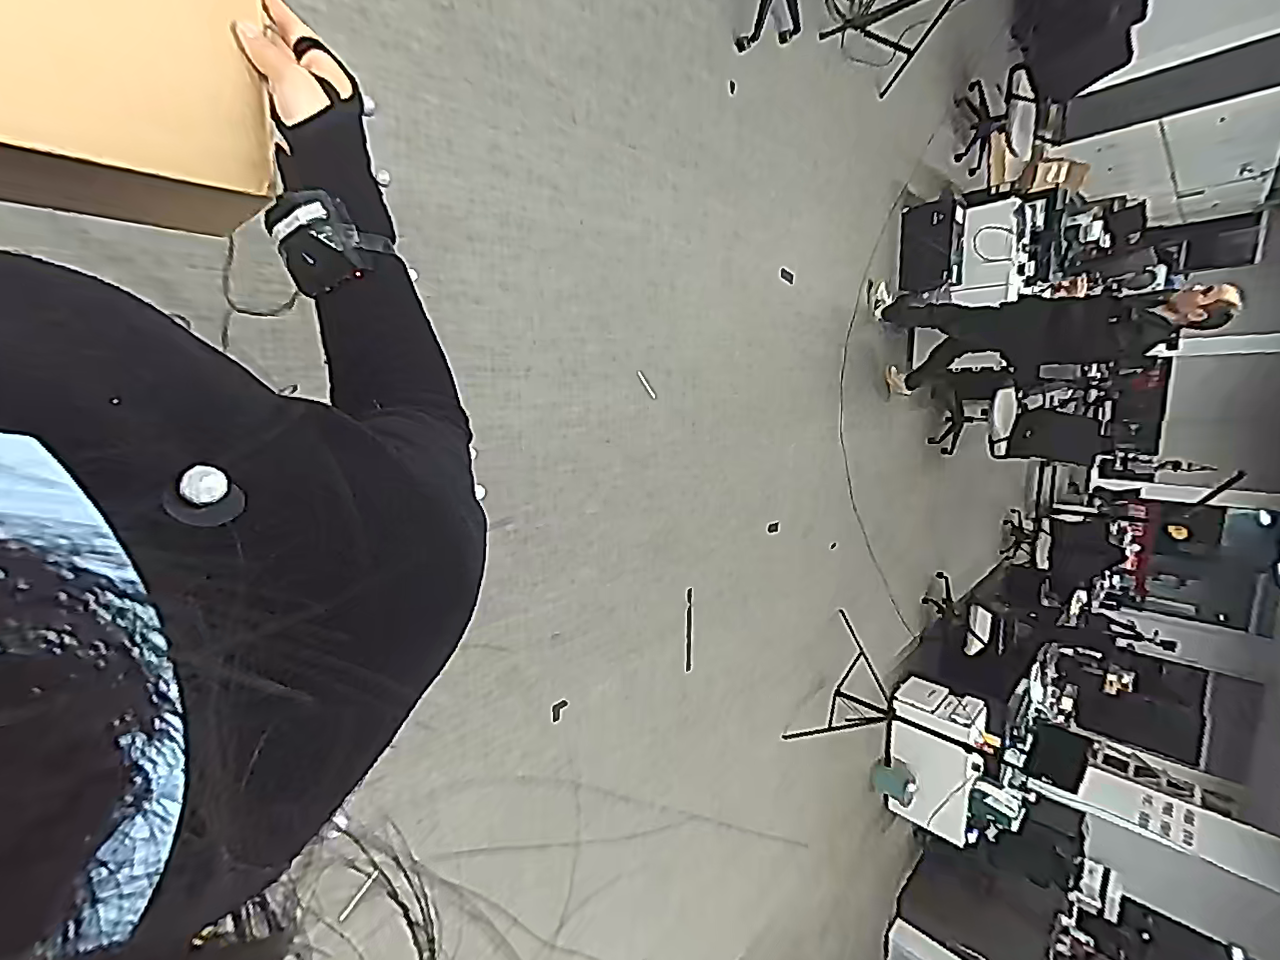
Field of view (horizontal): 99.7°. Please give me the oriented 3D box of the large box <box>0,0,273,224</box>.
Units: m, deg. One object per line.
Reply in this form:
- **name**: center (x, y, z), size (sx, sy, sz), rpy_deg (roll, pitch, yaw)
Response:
- **large box**: center (-0.542, -0.396, 0.387), size (0.408, 0.320, 0.320), rpy_deg (-9, 108, -42)
